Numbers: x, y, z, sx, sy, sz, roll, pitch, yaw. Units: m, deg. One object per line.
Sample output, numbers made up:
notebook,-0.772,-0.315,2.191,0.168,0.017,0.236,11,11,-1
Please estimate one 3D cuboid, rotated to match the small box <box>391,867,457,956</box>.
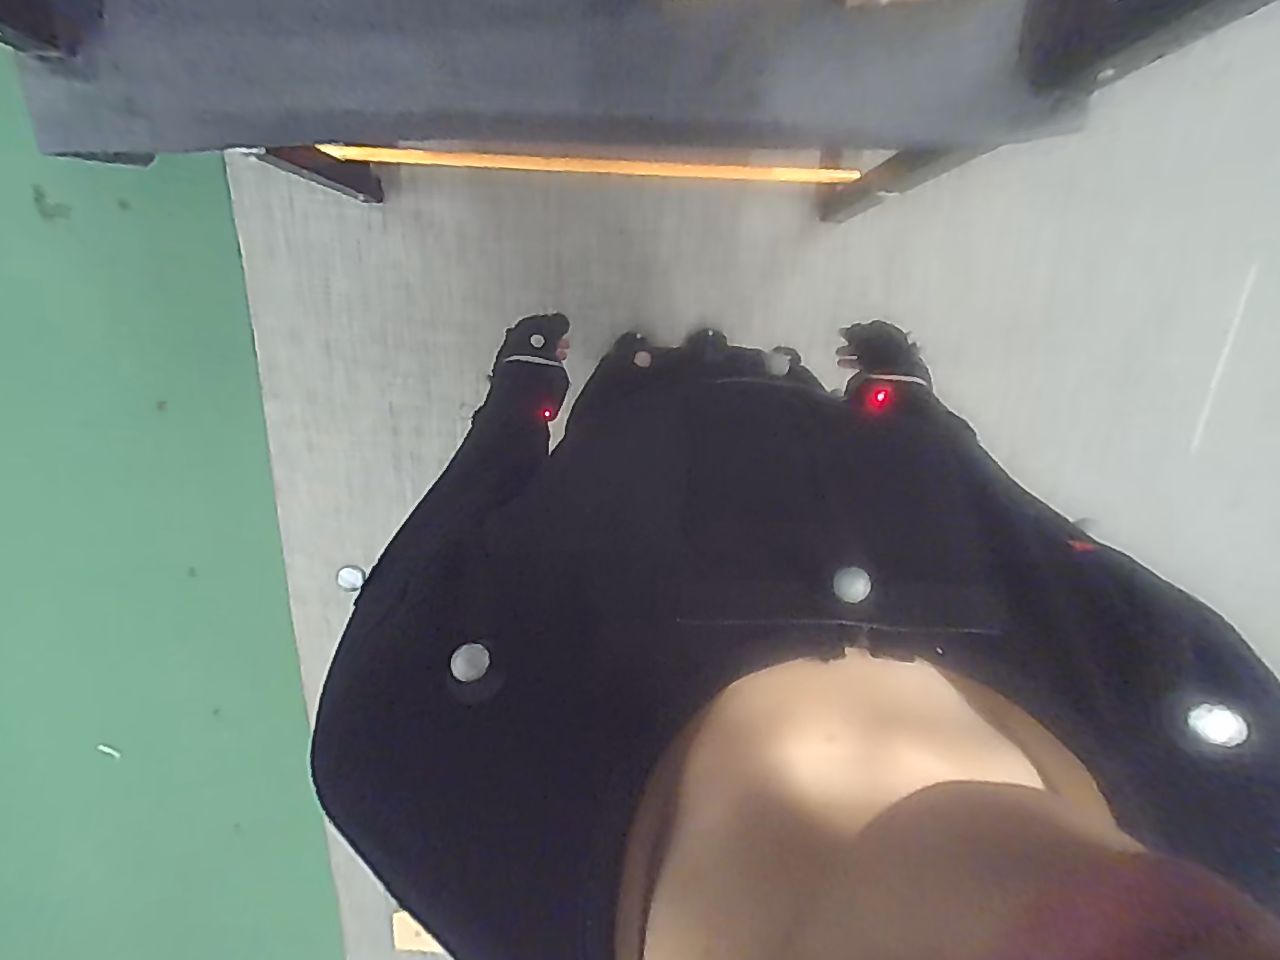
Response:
small box,-0.740,1.490,1.871,0.168,0.176,0.179,5,105,0
